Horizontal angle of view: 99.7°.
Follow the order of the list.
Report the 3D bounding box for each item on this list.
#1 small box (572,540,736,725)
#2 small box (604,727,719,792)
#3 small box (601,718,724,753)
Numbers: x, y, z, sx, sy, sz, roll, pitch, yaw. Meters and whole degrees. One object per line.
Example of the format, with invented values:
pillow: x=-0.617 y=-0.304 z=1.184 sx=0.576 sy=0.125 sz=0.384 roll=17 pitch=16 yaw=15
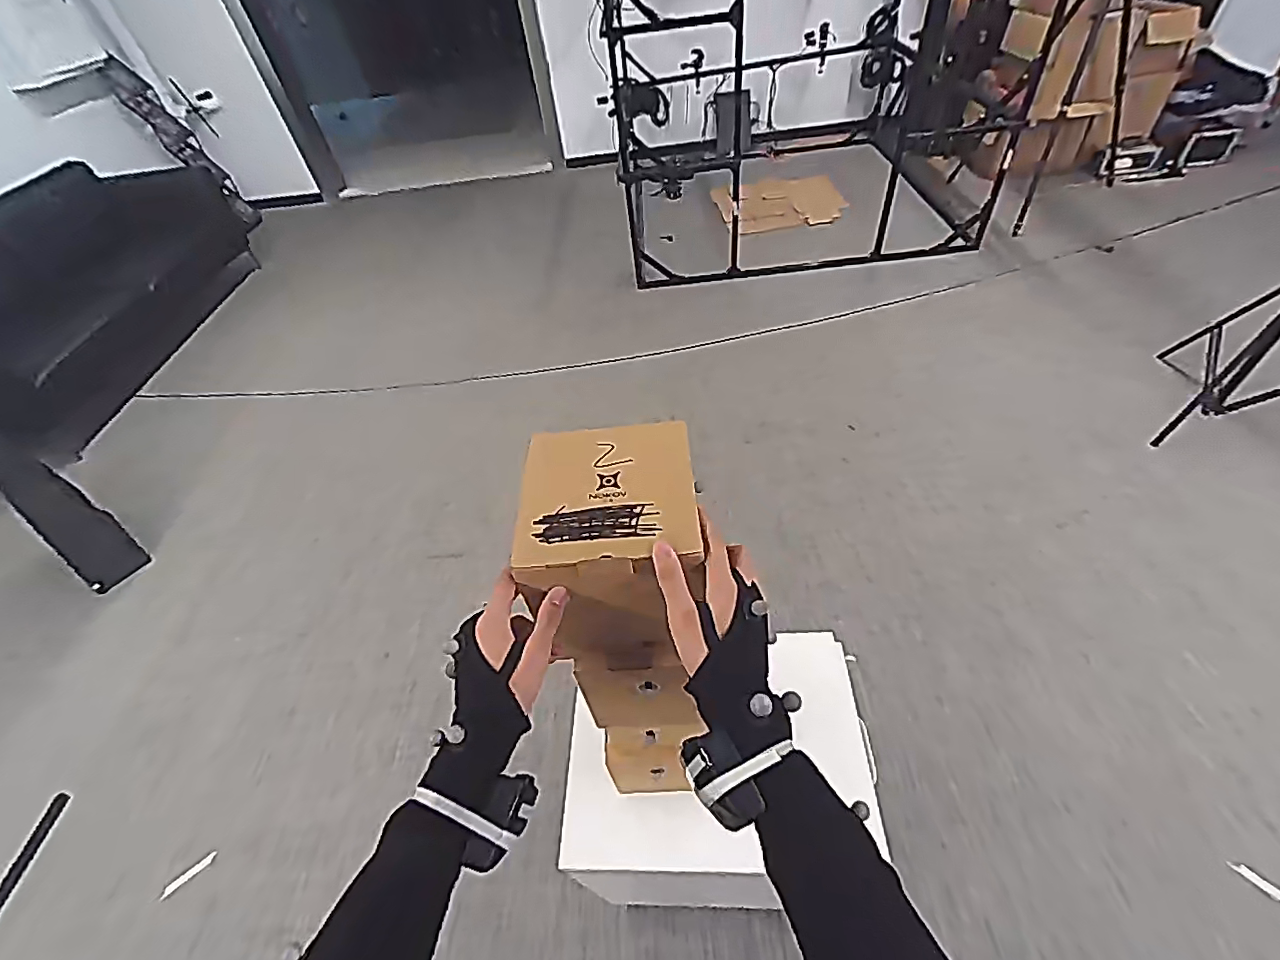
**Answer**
small box: x=0.023 y=0.193 z=0.674 sx=0.179 sy=0.176 sz=0.168 roll=-3 pitch=46 yaw=4
small box: x=0.040 y=0.415 z=0.914 sx=0.179 sy=0.176 sz=0.168 roll=-4 pitch=47 yaw=3
small box: x=0.037 y=0.294 z=0.806 sx=0.168 sy=0.176 sz=0.179 roll=-3 pitch=46 yaw=4
